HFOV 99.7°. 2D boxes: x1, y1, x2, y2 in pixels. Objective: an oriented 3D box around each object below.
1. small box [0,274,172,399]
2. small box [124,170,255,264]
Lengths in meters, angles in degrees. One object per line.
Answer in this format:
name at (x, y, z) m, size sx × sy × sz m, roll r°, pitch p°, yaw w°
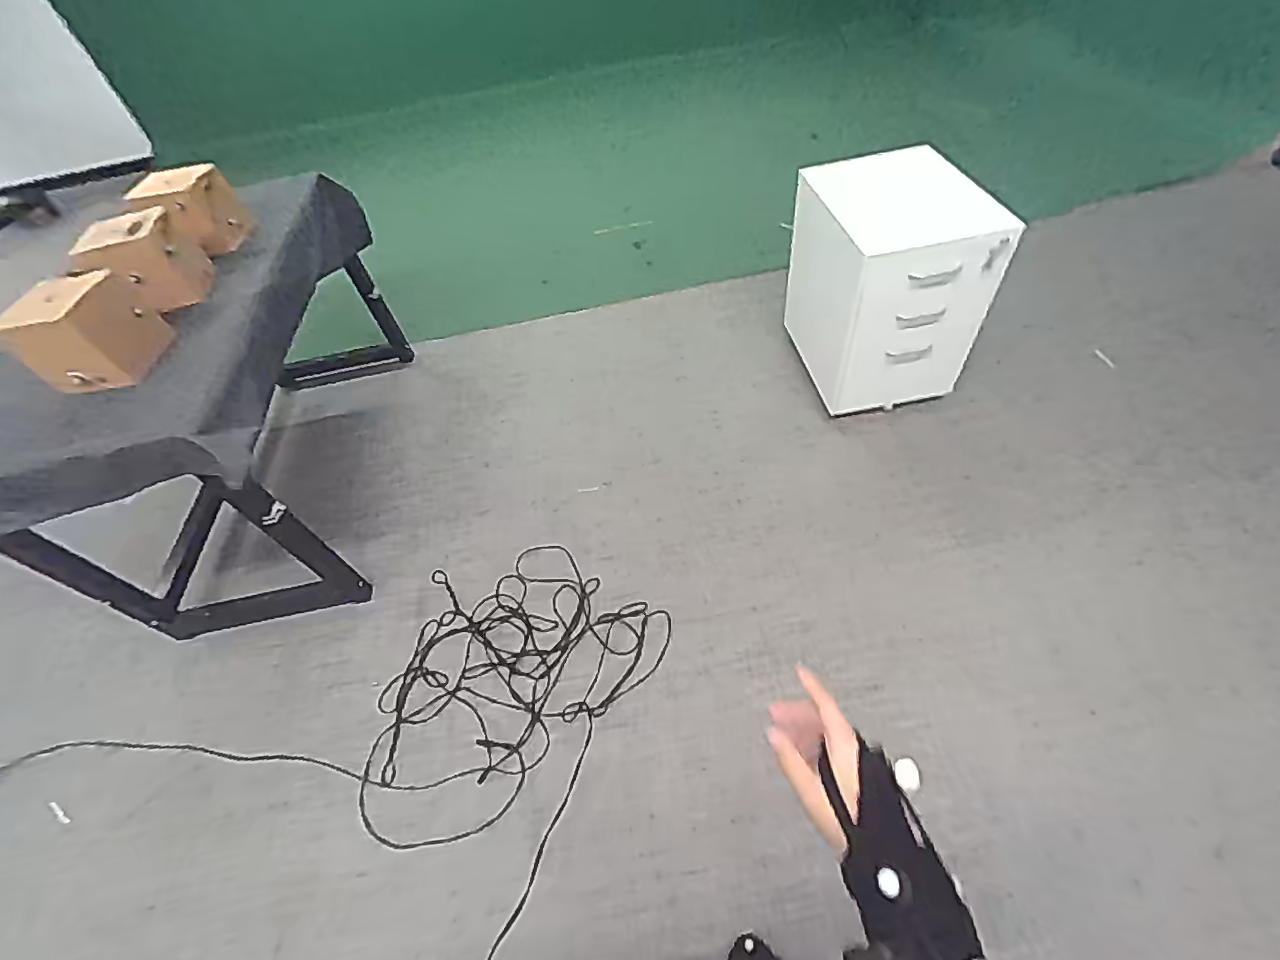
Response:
small box at (-1.131, -0.293, 1.116) m, size 0.168 × 0.176 × 0.179 m, roll -9°, pitch 52°, yaw 4°
small box at (-1.200, -0.703, 1.457) m, size 0.179 × 0.176 × 0.168 m, roll -7°, pitch 51°, yaw 3°
